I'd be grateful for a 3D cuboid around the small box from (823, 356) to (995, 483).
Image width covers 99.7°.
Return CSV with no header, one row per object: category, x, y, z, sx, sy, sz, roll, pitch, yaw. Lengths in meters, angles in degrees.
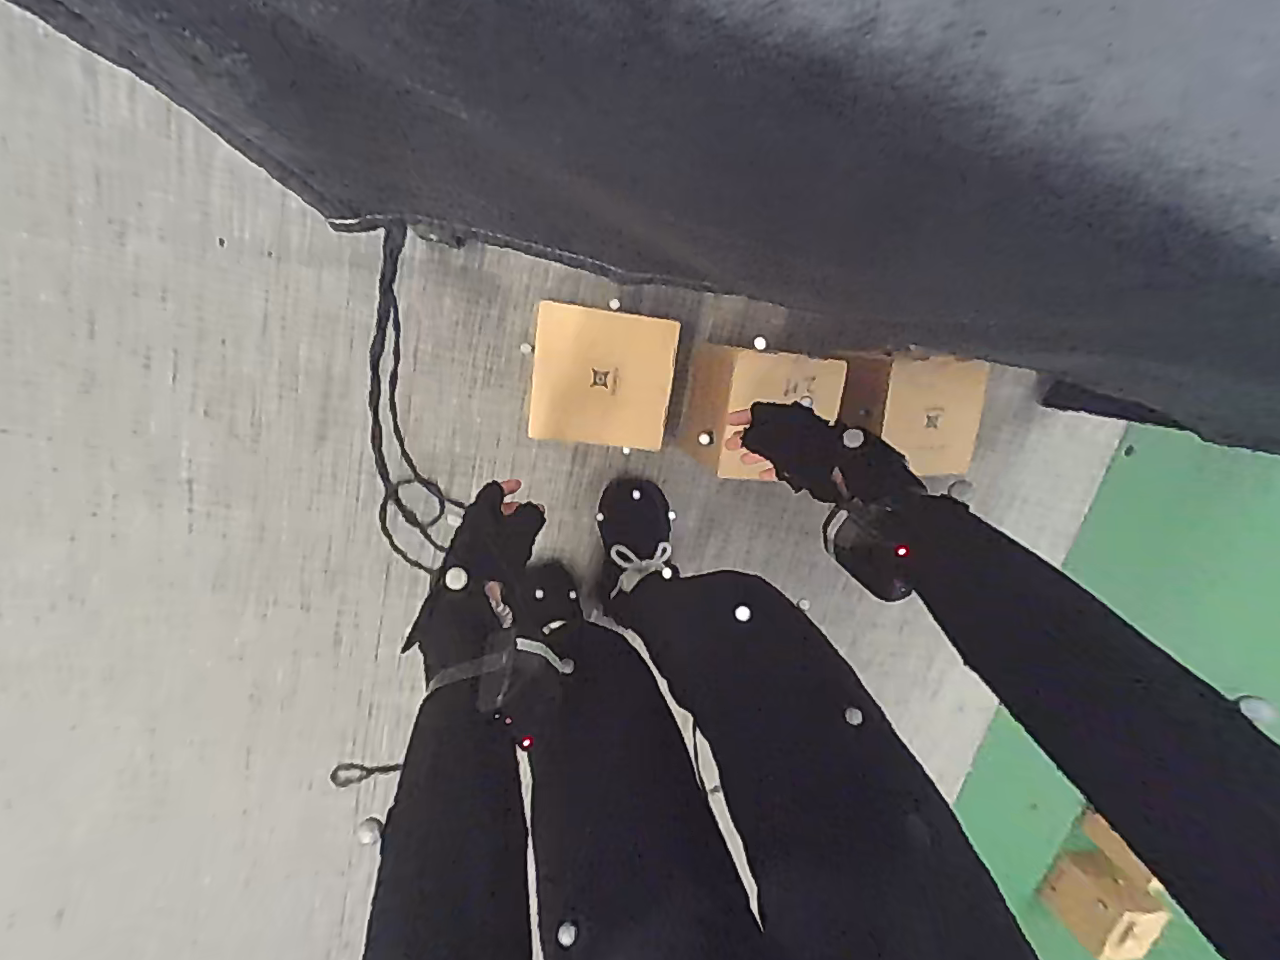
small box,0.410,-0.103,0.853,0.168,0.176,0.179,-3,107,-13
